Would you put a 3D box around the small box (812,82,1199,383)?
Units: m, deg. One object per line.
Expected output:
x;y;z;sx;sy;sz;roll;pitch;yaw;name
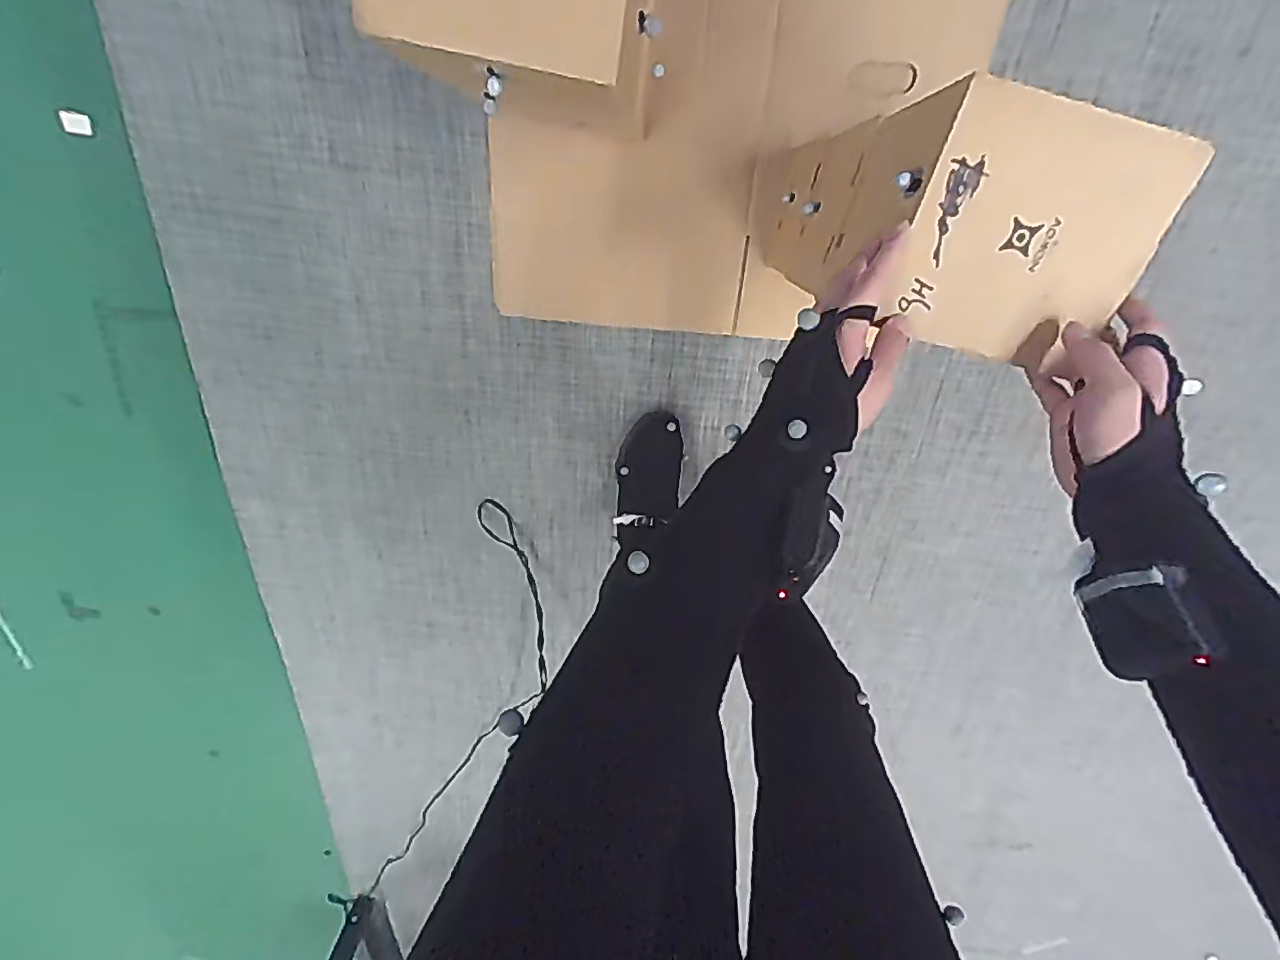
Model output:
0.274;-0.200;0.459;0.179;0.176;0.168;14;114;-4;small box

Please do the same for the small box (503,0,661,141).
-0.073;-0.539;0.677;0.179;0.176;0.168;8;117;-2;small box

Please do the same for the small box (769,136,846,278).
0.294;-0.359;0.750;0.179;0.176;0.168;10;117;-1;small box

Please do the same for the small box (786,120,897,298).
0.285;-0.278;0.606;0.179;0.176;0.168;14;116;-3;small box
